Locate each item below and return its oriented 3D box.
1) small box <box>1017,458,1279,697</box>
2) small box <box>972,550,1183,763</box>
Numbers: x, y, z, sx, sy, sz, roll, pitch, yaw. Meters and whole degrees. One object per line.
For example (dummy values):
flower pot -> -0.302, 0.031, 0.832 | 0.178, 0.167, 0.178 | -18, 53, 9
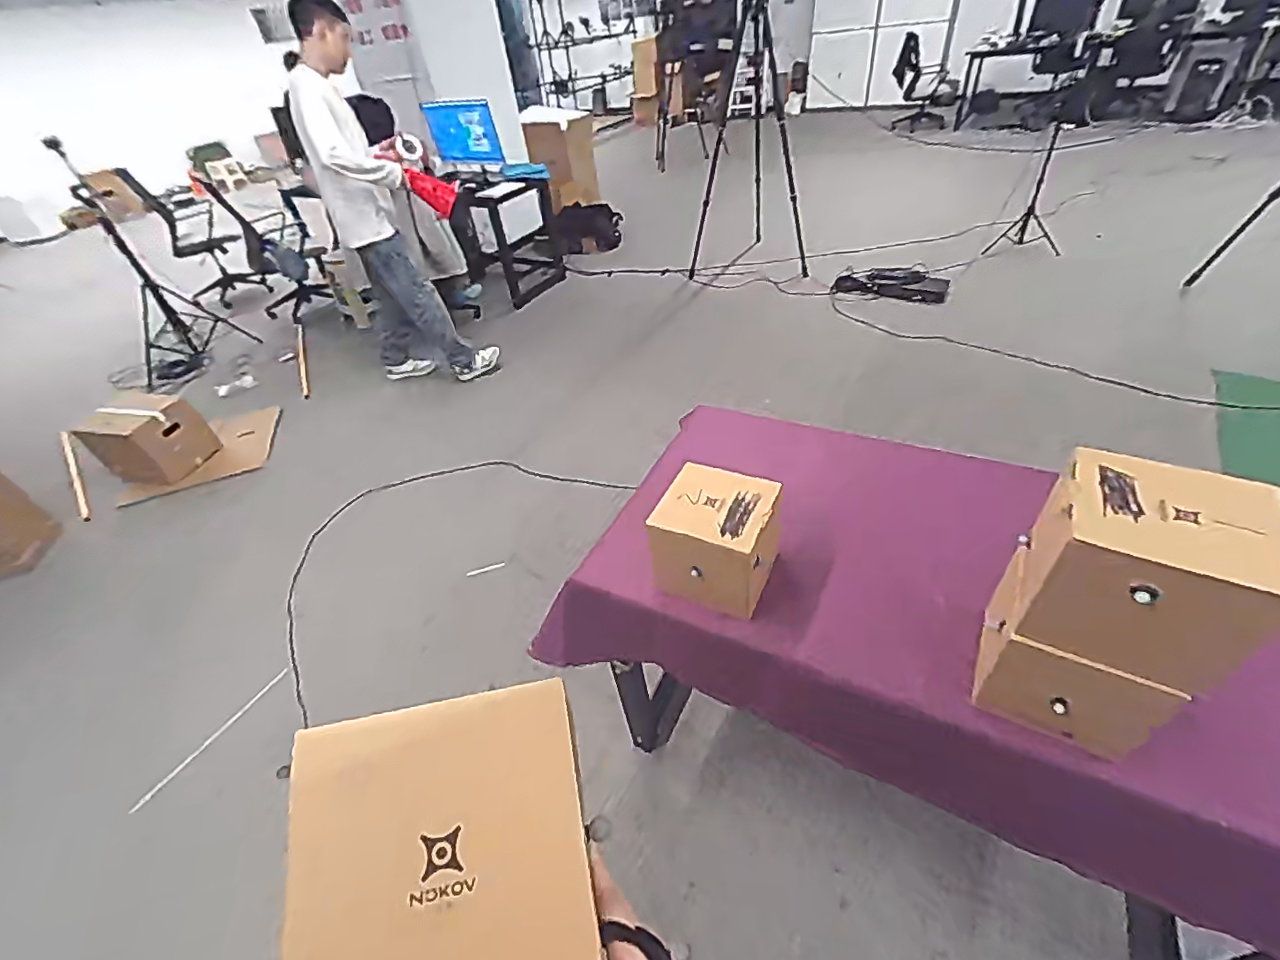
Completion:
small box -> 0.550, 0.106, 0.601 | 0.179, 0.176, 0.168 | 19, 47, 27
small box -> 0.558, 0.230, 0.710 | 0.168, 0.176, 0.179 | 18, 47, 27
